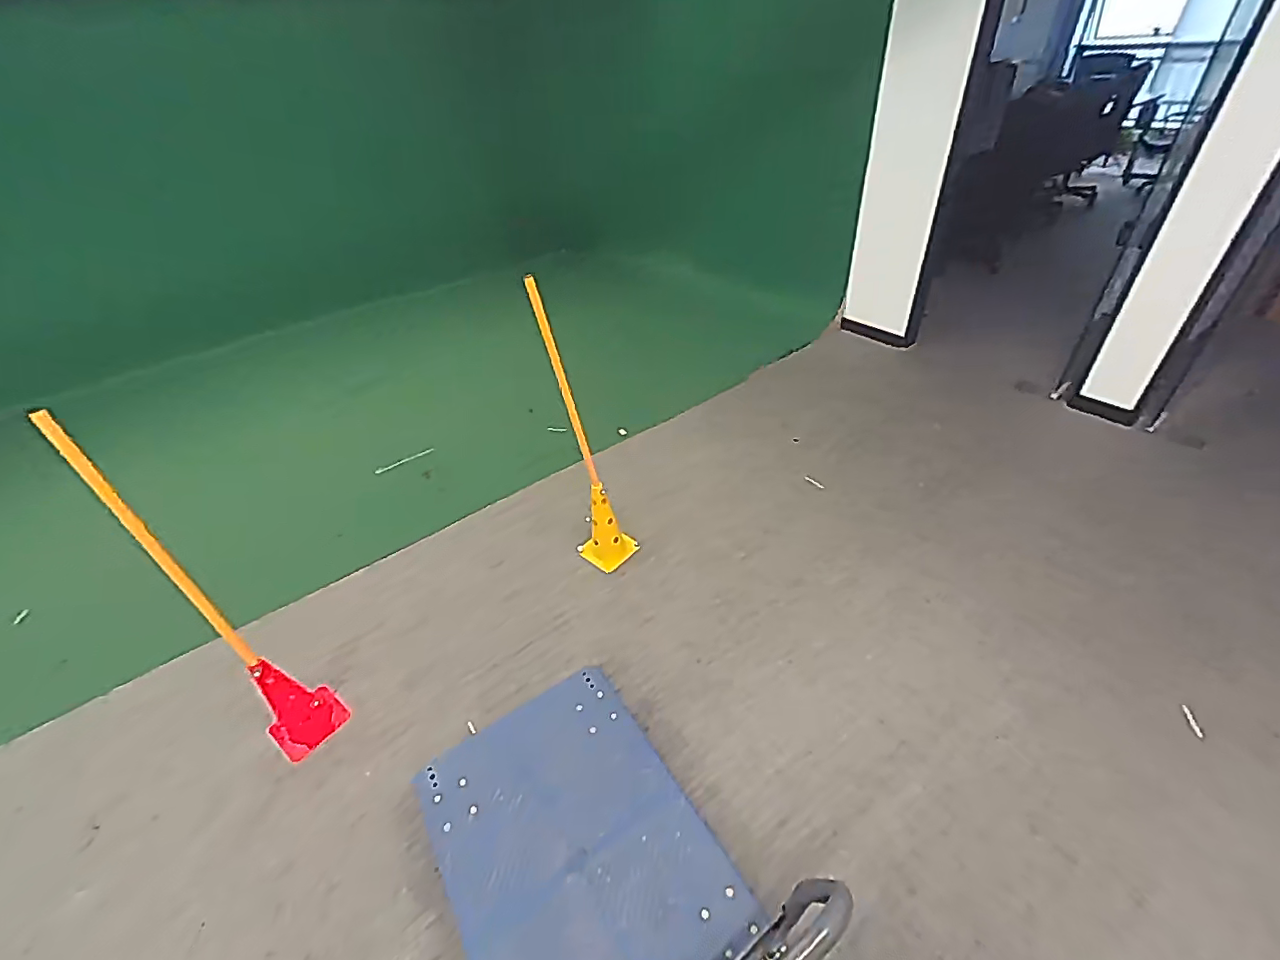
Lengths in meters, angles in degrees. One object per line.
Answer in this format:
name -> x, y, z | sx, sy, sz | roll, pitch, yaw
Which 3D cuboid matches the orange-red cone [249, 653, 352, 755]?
orange-red cone -> -1.096, 0.652, 1.675 | 0.198, 0.360, 0.199 | 24, 50, 32
